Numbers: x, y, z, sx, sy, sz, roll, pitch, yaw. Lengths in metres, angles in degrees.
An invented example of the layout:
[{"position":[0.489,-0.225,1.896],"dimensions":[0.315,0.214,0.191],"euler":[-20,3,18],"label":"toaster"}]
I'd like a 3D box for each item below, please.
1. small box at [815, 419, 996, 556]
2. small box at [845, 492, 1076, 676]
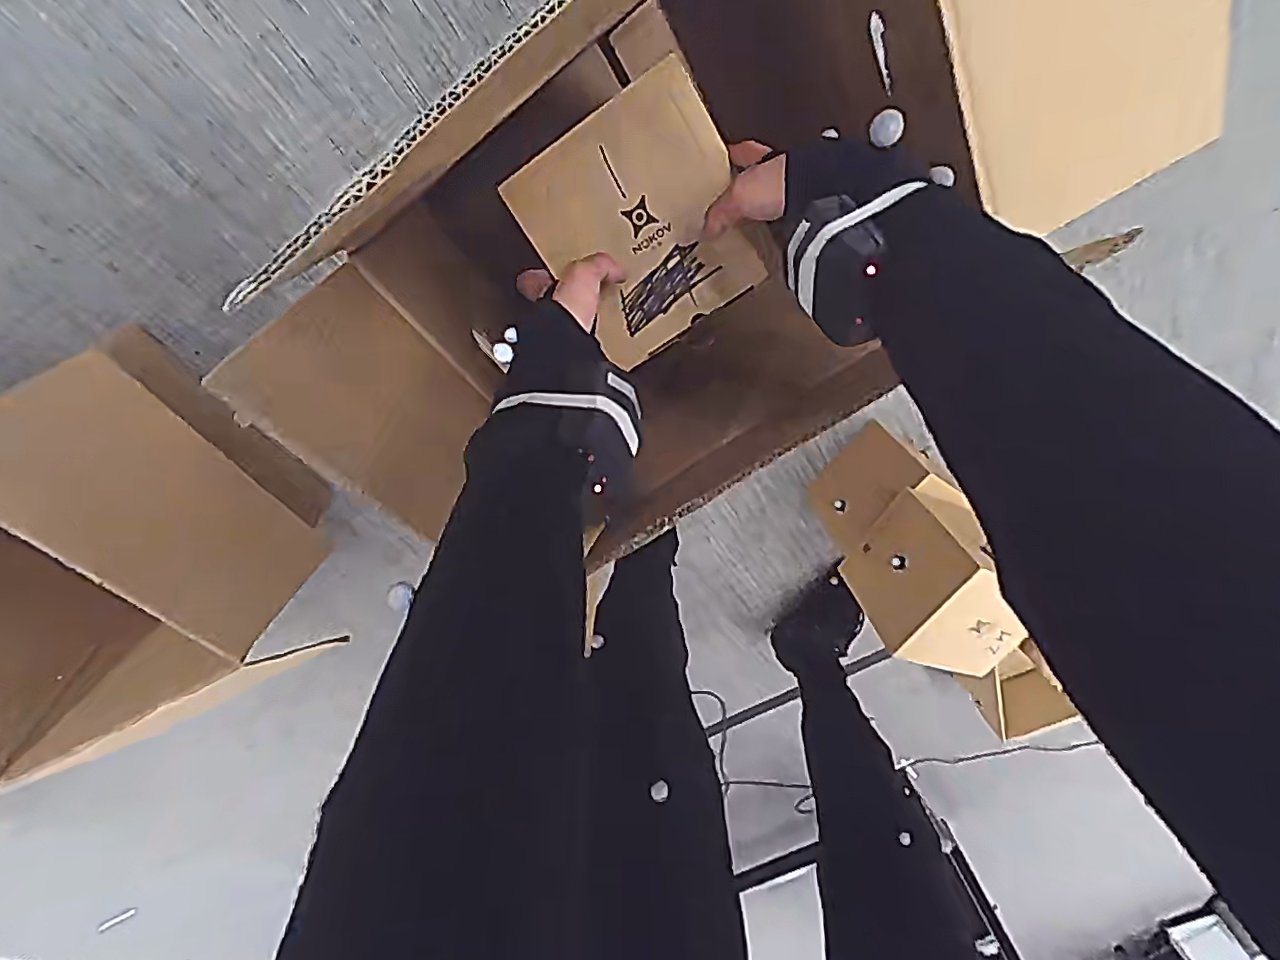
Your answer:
[{"position":[0.410,0.035,0.874],"dimensions":[0.168,0.176,0.179],"euler":[25,116,-25],"label":"small box"},{"position":[0.421,0.138,0.745],"dimensions":[0.179,0.176,0.168],"euler":[17,120,-21],"label":"small box"}]
